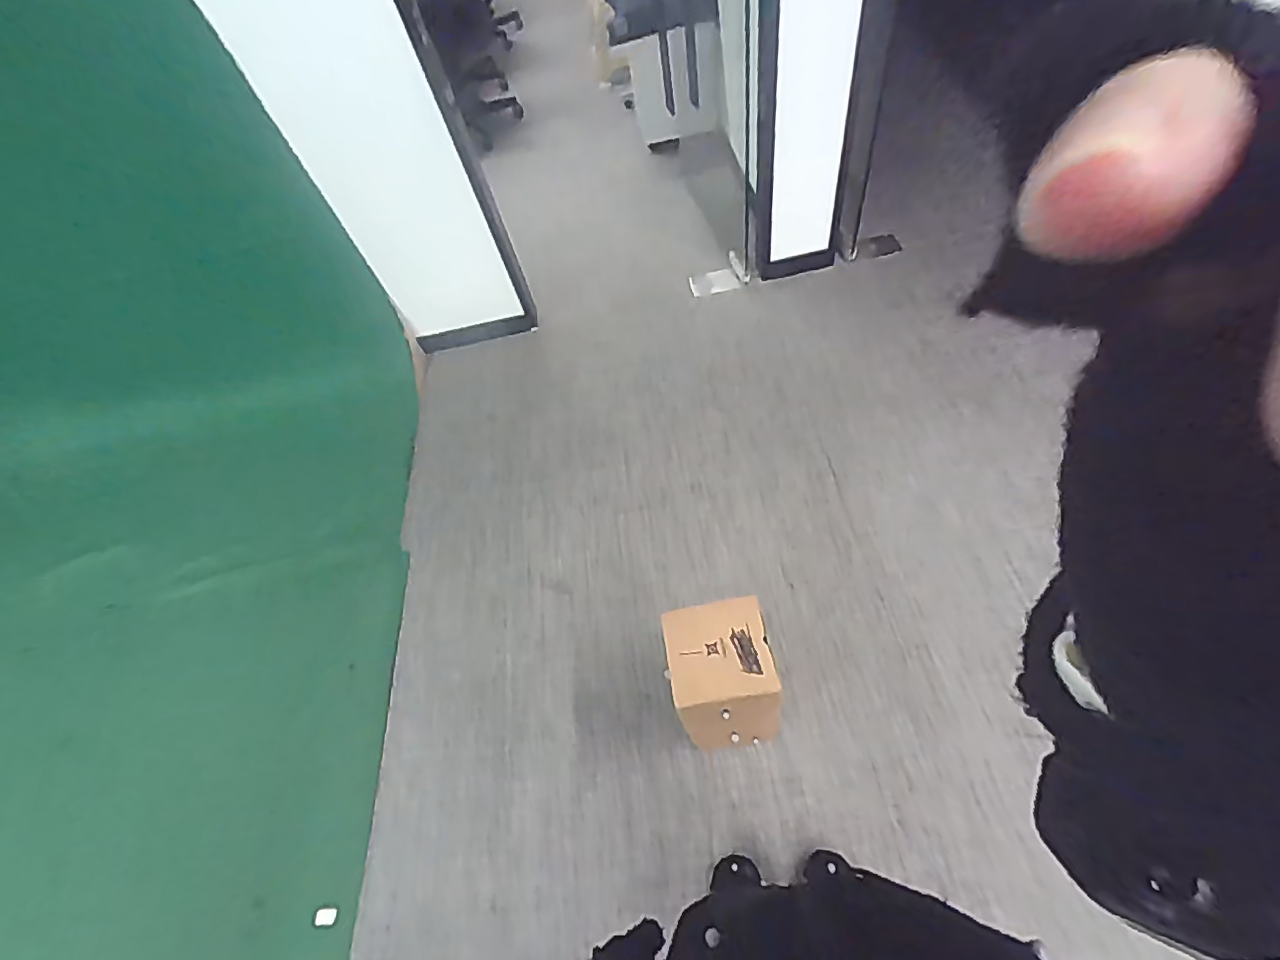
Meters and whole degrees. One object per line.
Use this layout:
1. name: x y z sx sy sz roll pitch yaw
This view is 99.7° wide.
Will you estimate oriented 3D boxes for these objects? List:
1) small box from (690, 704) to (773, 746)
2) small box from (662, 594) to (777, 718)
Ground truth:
1. small box: 0.200 0.504 1.251 0.179 0.176 0.168 -12 54 5
2. small box: 0.141 0.323 0.981 0.179 0.176 0.168 -9 53 5
